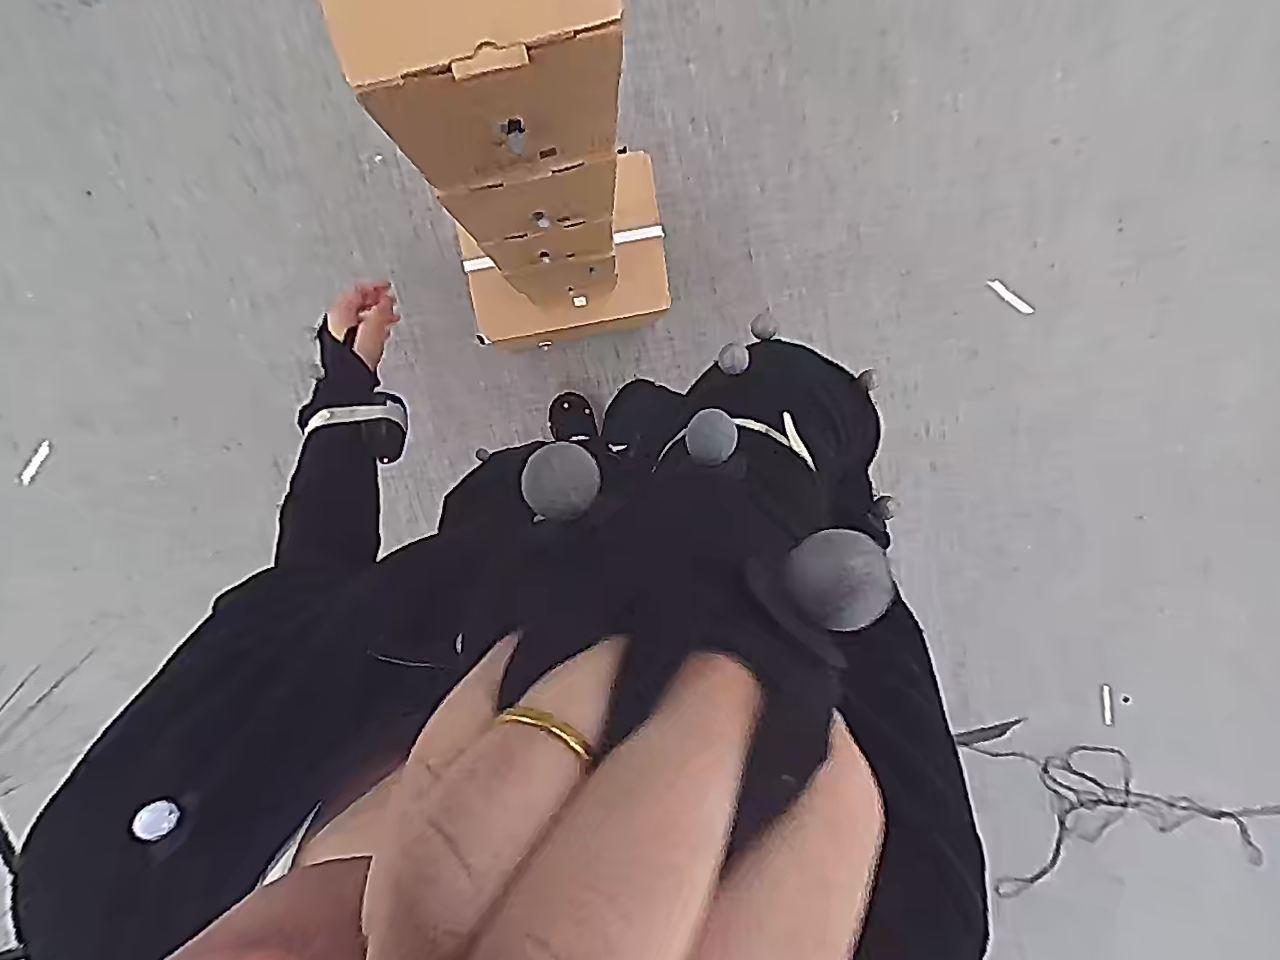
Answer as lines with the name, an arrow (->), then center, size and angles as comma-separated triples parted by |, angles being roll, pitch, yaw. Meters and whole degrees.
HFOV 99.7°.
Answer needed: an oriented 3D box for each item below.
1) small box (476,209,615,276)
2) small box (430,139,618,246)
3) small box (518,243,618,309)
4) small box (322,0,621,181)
small box -> -0.133, -0.383, 0.701 | 0.168, 0.176, 0.179 | -13, 102, -2
small box -> -0.123, -0.357, 0.539 | 0.168, 0.176, 0.179 | -14, 102, -1
small box -> -0.144, -0.431, 1.024 | 0.179, 0.176, 0.168 | -13, 101, -2
small box -> -0.112, -0.333, 0.377 | 0.168, 0.176, 0.179 | -15, 102, -2
